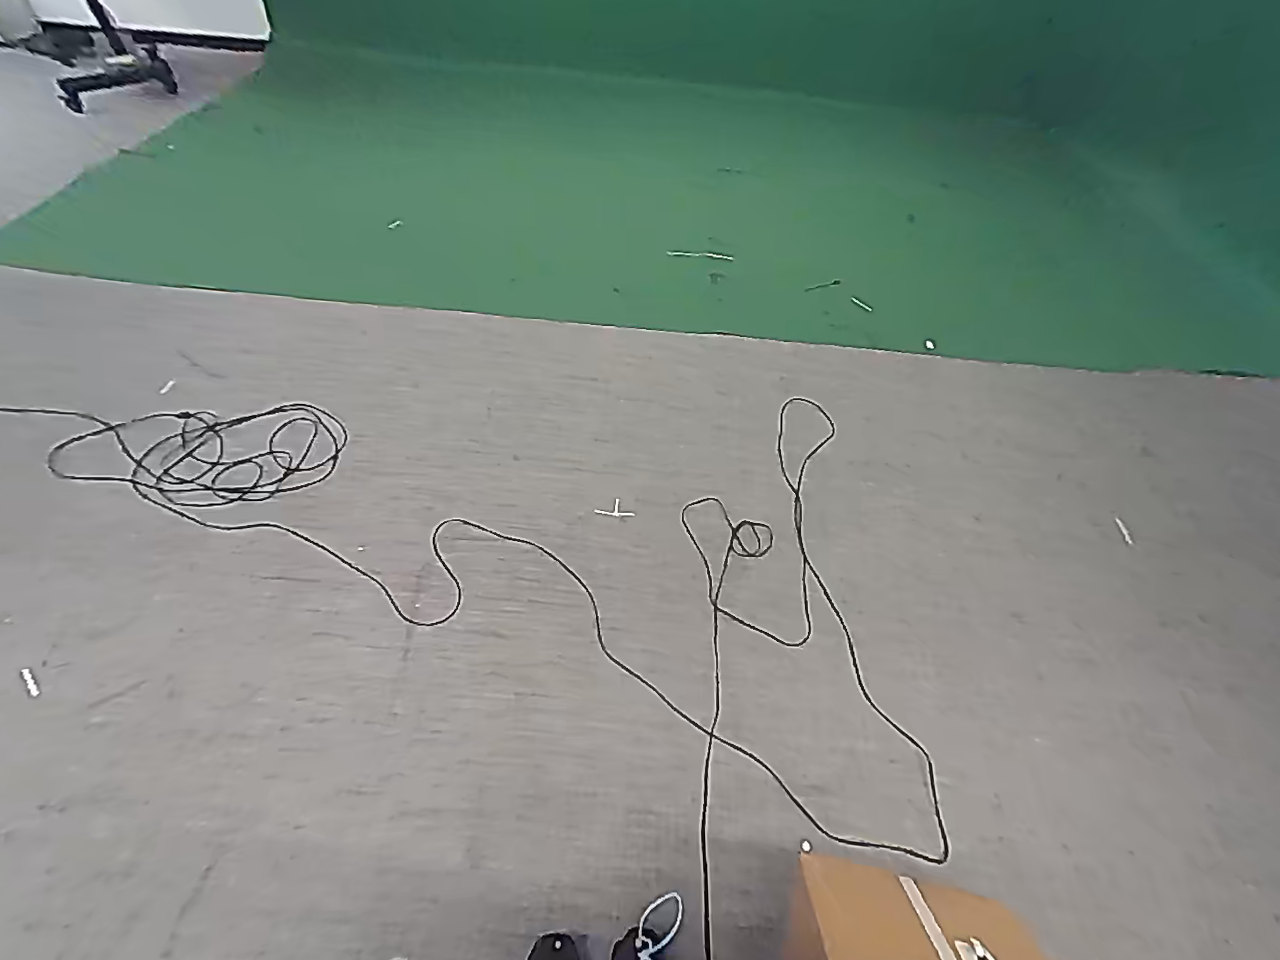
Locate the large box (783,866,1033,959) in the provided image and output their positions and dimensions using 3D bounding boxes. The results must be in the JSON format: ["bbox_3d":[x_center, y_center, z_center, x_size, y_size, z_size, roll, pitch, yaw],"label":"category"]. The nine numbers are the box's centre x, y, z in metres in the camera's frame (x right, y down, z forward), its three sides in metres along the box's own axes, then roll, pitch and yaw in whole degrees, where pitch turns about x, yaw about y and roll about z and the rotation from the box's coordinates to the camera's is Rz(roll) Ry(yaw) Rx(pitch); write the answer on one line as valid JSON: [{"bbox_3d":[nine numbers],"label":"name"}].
[{"bbox_3d":[0.346,0.766,0.622,0.320,0.408,0.320,13,90,7],"label":"large box"}]
